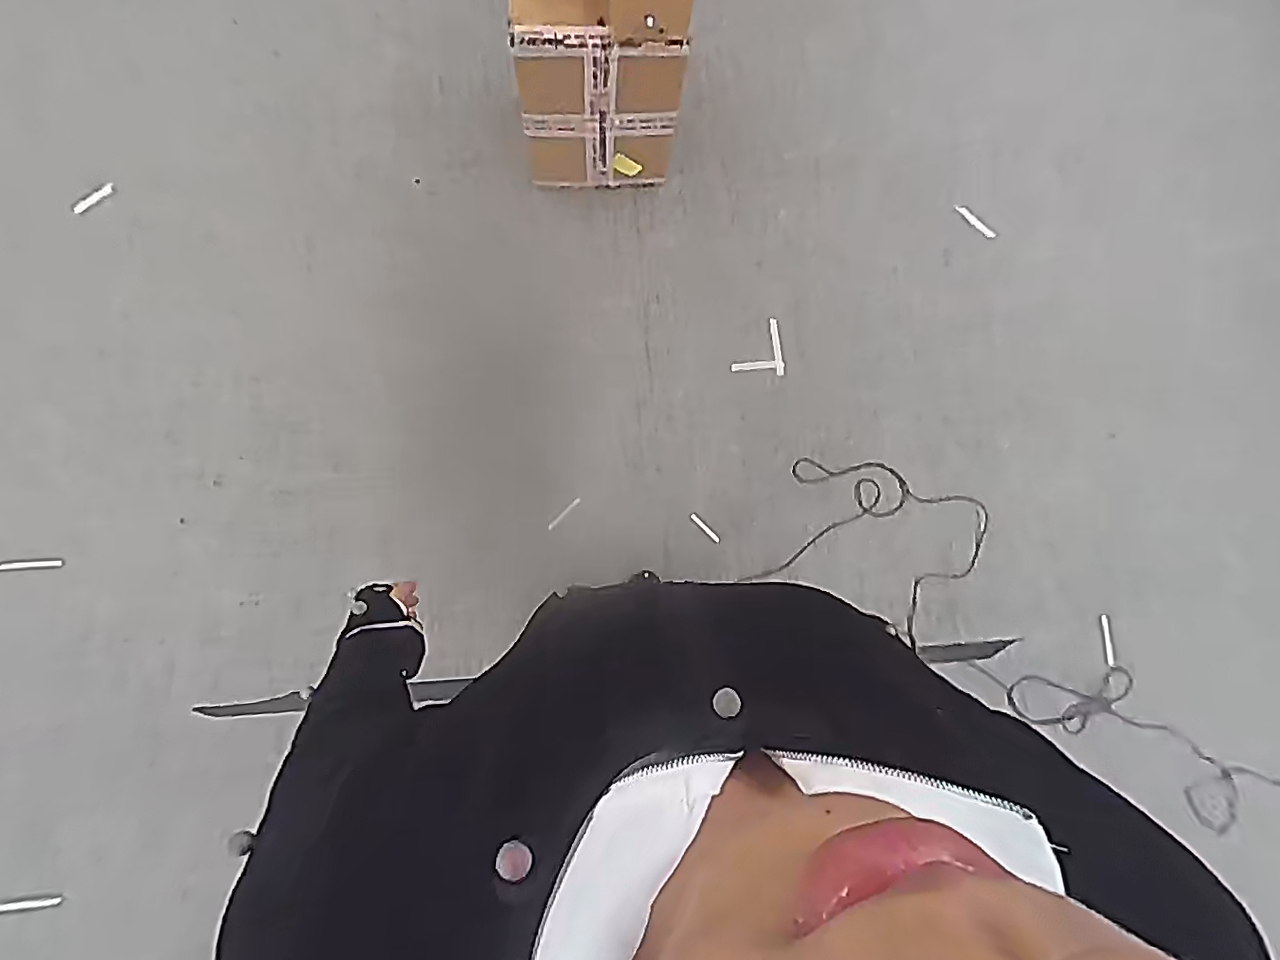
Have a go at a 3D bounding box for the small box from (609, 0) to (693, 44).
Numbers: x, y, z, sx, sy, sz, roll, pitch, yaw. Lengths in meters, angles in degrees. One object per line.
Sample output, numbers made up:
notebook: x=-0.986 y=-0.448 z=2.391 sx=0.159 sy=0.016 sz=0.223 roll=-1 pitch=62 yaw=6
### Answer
small box: x=0.021 y=-1.047 z=1.104 sx=0.168 sy=0.176 sz=0.179 roll=-3 pitch=85 yaw=-5
